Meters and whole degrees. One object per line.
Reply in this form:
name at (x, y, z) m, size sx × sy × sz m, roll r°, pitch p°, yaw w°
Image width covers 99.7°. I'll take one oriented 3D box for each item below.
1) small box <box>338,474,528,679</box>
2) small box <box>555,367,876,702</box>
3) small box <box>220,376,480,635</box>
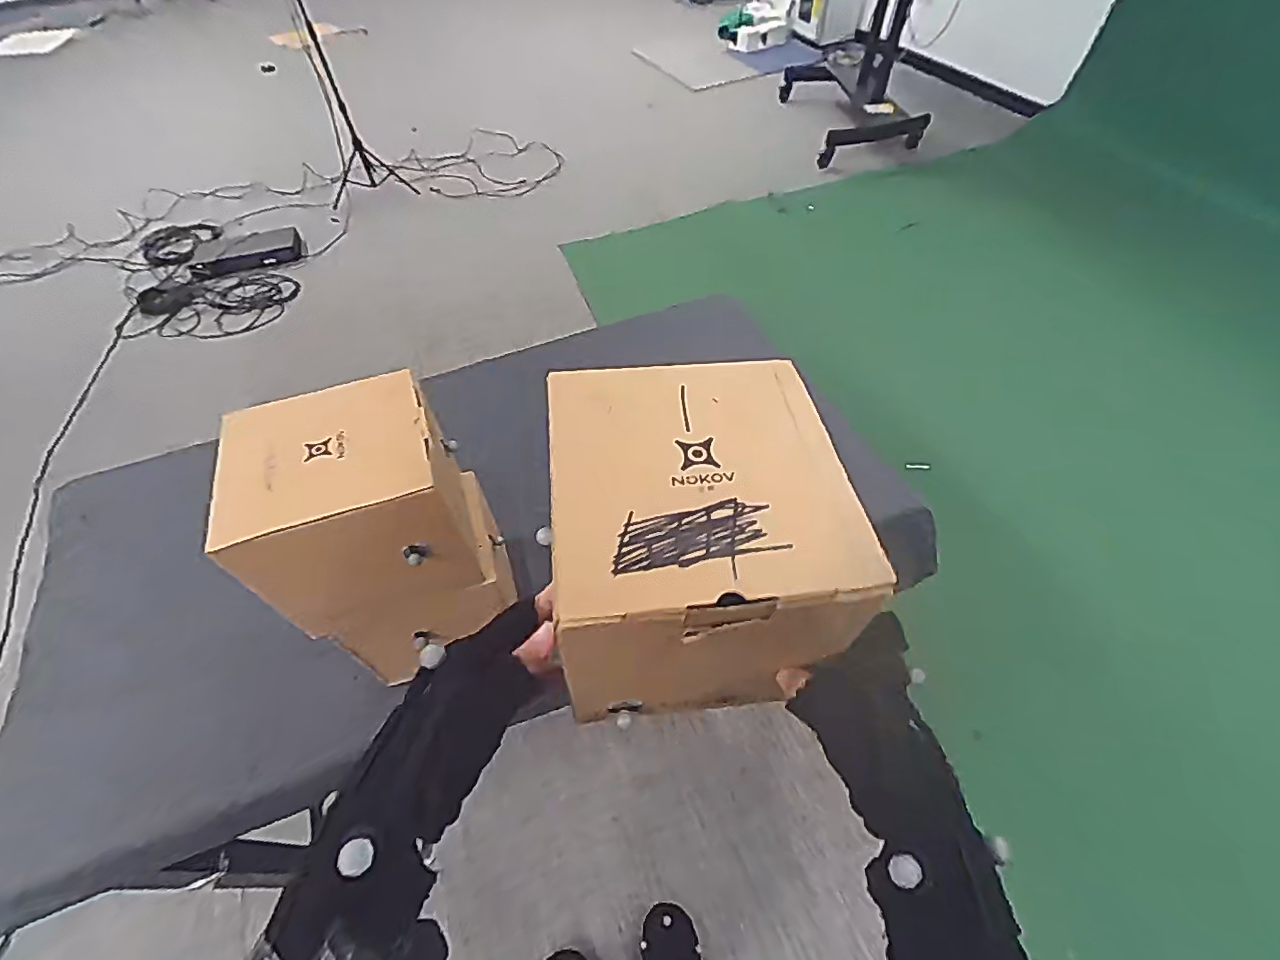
small box at (-0.256, 0.125, 0.678) m, size 0.179 × 0.176 × 0.168 m, roll -17°, pitch 53°, yaw -10°
small box at (0.031, 0.044, 0.382) m, size 0.168 × 0.176 × 0.179 m, roll -4°, pitch 50°, yaw -6°
small box at (-0.273, 0.028, 0.548) m, size 0.179 × 0.176 × 0.168 m, roll -19°, pitch 52°, yaw -11°
